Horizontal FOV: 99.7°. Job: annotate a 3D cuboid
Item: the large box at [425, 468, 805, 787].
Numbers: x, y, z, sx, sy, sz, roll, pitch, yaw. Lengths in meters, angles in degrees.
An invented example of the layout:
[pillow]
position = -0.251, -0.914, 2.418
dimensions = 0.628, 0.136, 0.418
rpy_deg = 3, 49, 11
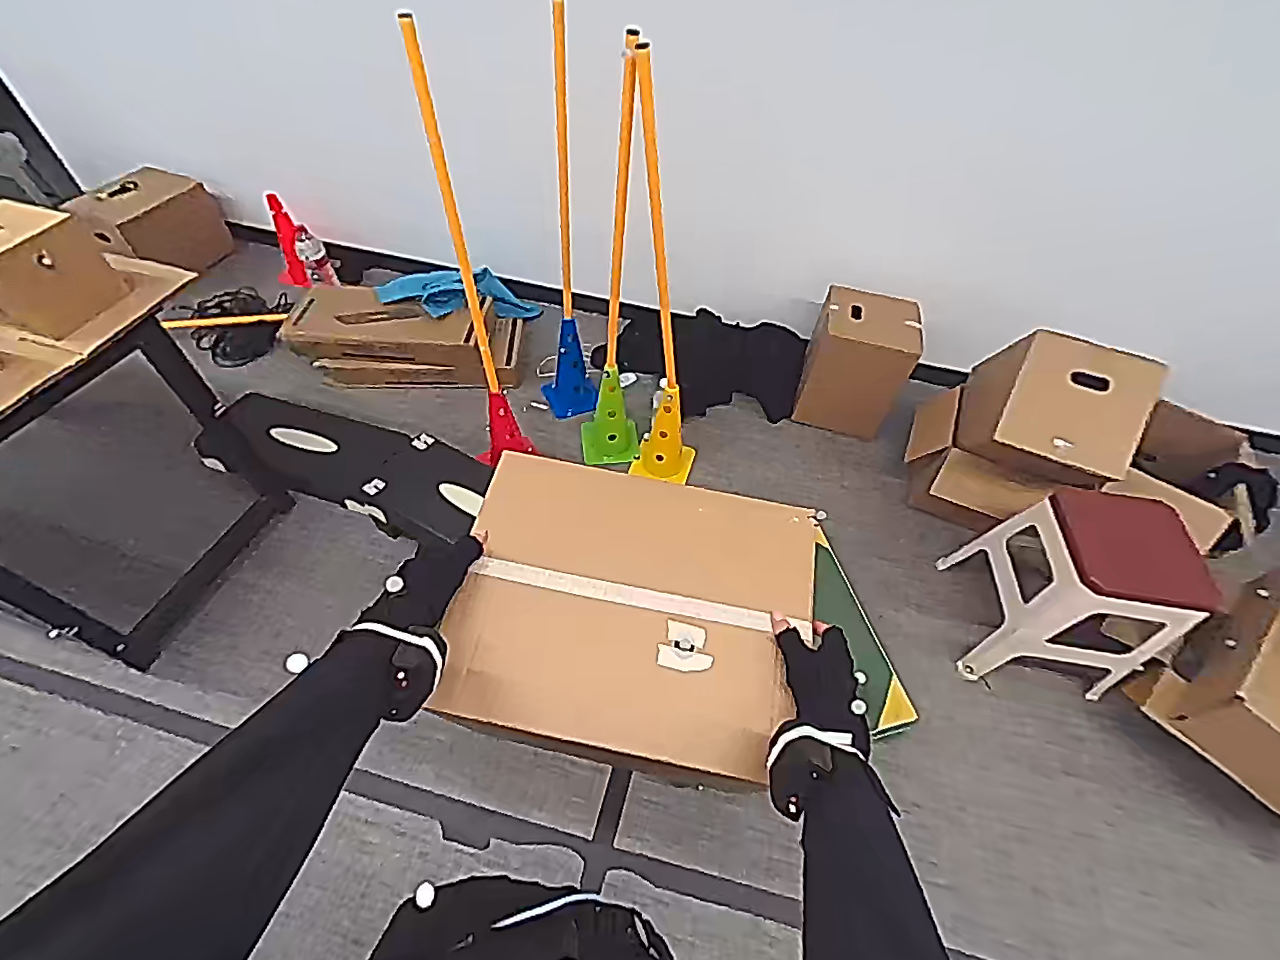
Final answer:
[large box]
position = -0.018, 0.220, 0.759
dimensions = 0.408, 0.320, 0.320
rpy_deg = 11, 61, 2
